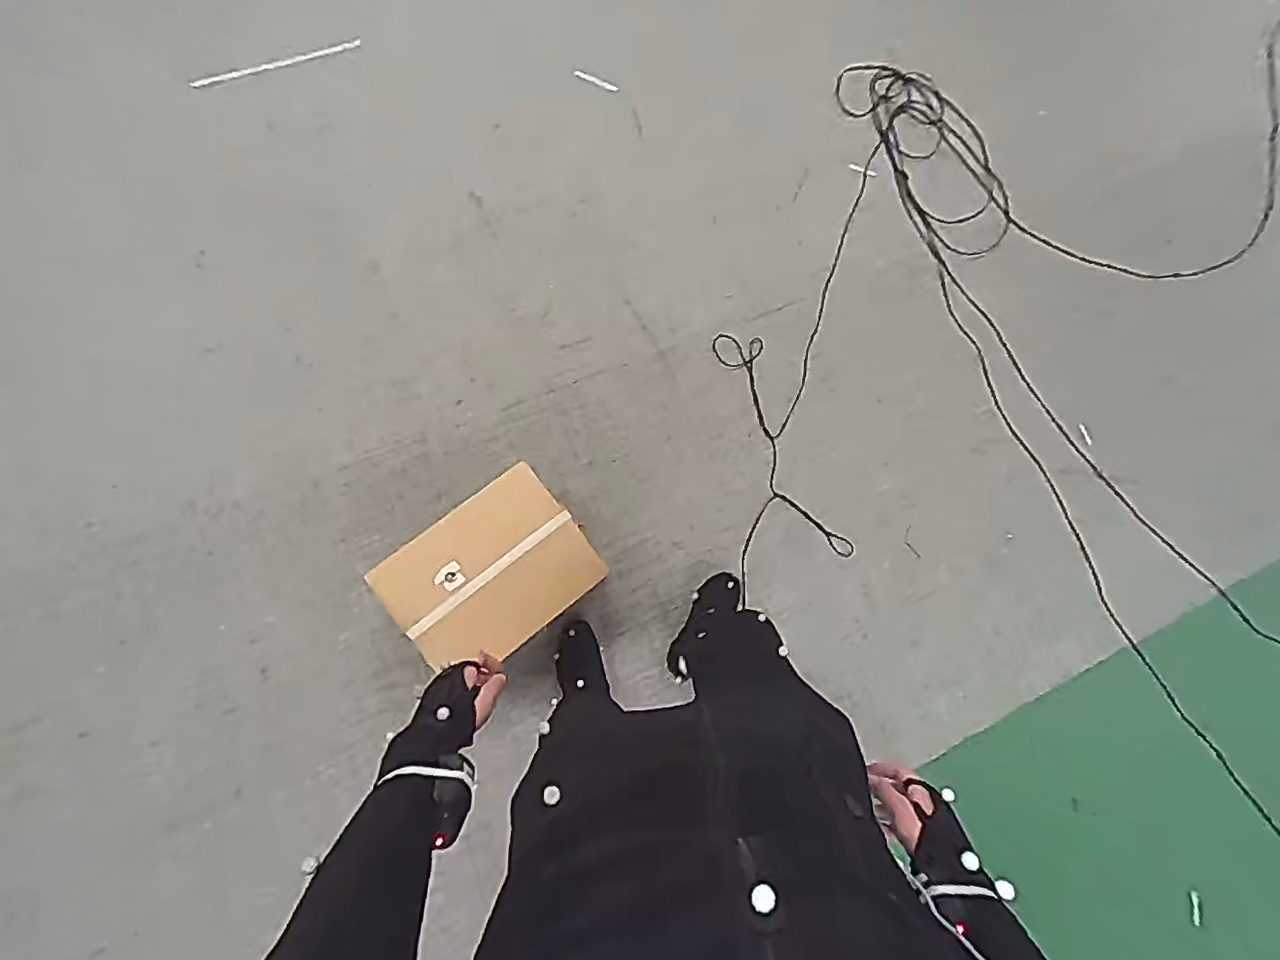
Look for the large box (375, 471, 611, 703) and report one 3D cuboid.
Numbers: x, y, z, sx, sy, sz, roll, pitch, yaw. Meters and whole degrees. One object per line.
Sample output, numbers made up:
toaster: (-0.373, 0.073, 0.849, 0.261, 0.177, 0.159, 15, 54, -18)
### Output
large box: (-0.320, 0.237, 1.286, 0.408, 0.320, 0.320, -38, 86, -10)
